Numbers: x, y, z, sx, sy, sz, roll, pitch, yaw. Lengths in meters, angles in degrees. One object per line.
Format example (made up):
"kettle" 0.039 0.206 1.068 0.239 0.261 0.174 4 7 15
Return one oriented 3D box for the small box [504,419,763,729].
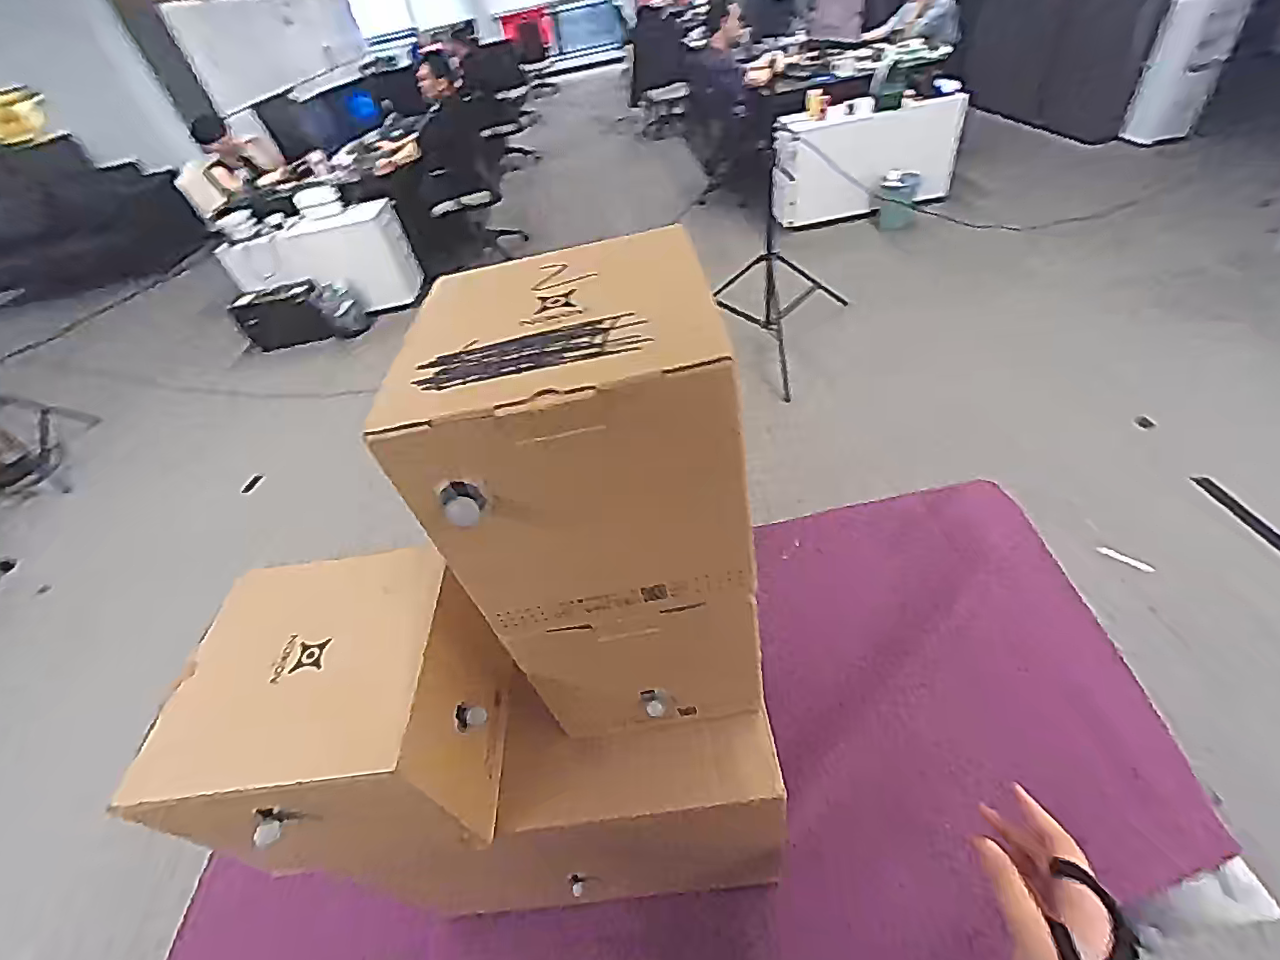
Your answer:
"small box" 0.001 0.078 0.453 0.168 0.176 0.179 -12 43 4
